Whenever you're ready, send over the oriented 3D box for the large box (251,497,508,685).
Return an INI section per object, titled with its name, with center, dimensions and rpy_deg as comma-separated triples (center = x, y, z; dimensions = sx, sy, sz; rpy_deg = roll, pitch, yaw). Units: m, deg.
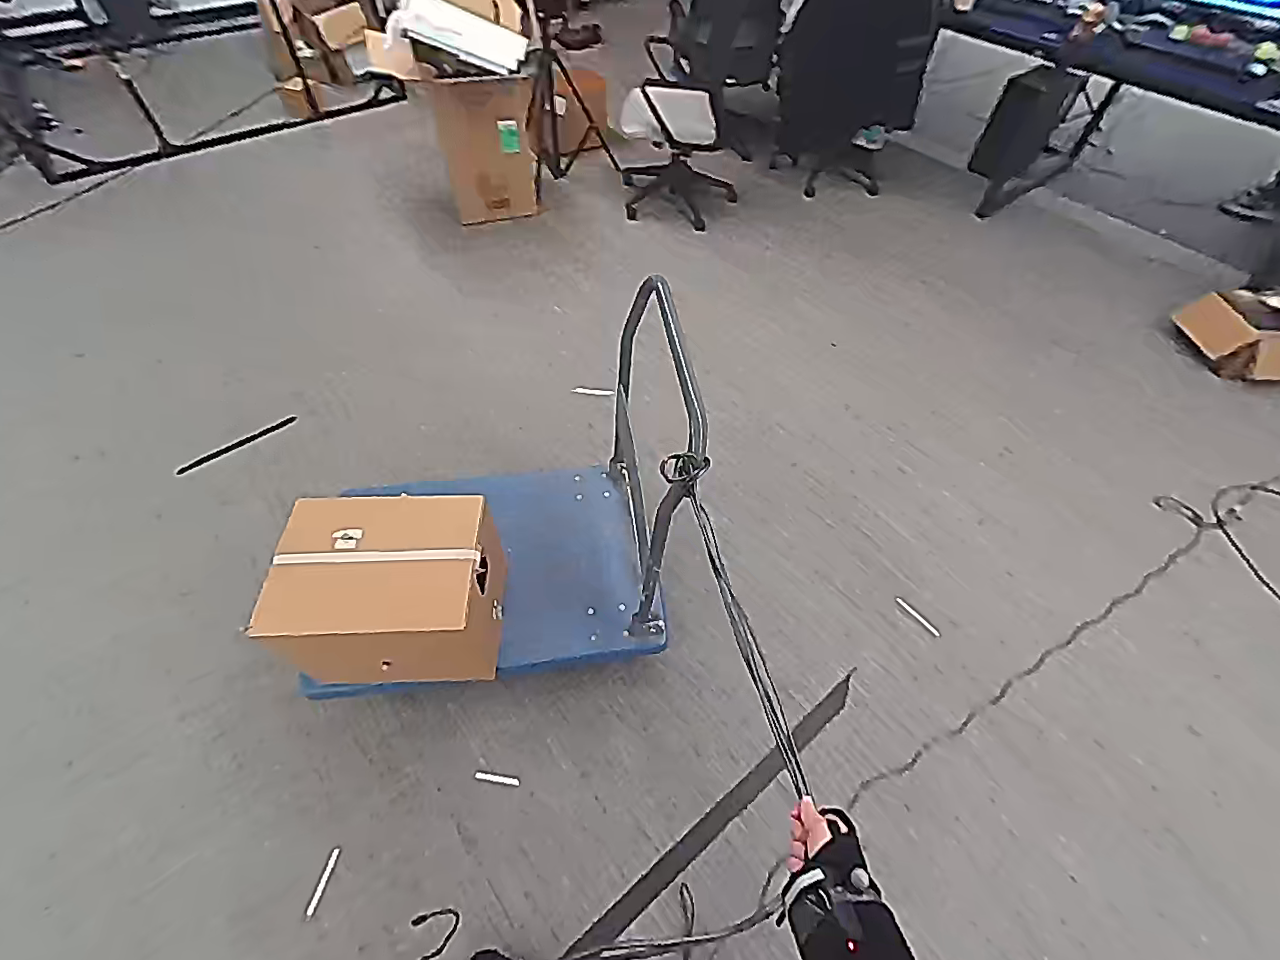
[large box]
center = -0.530, 0.255, 1.211
dimensions = 0.408, 0.320, 0.320
rpy_deg = -2, 53, -2
